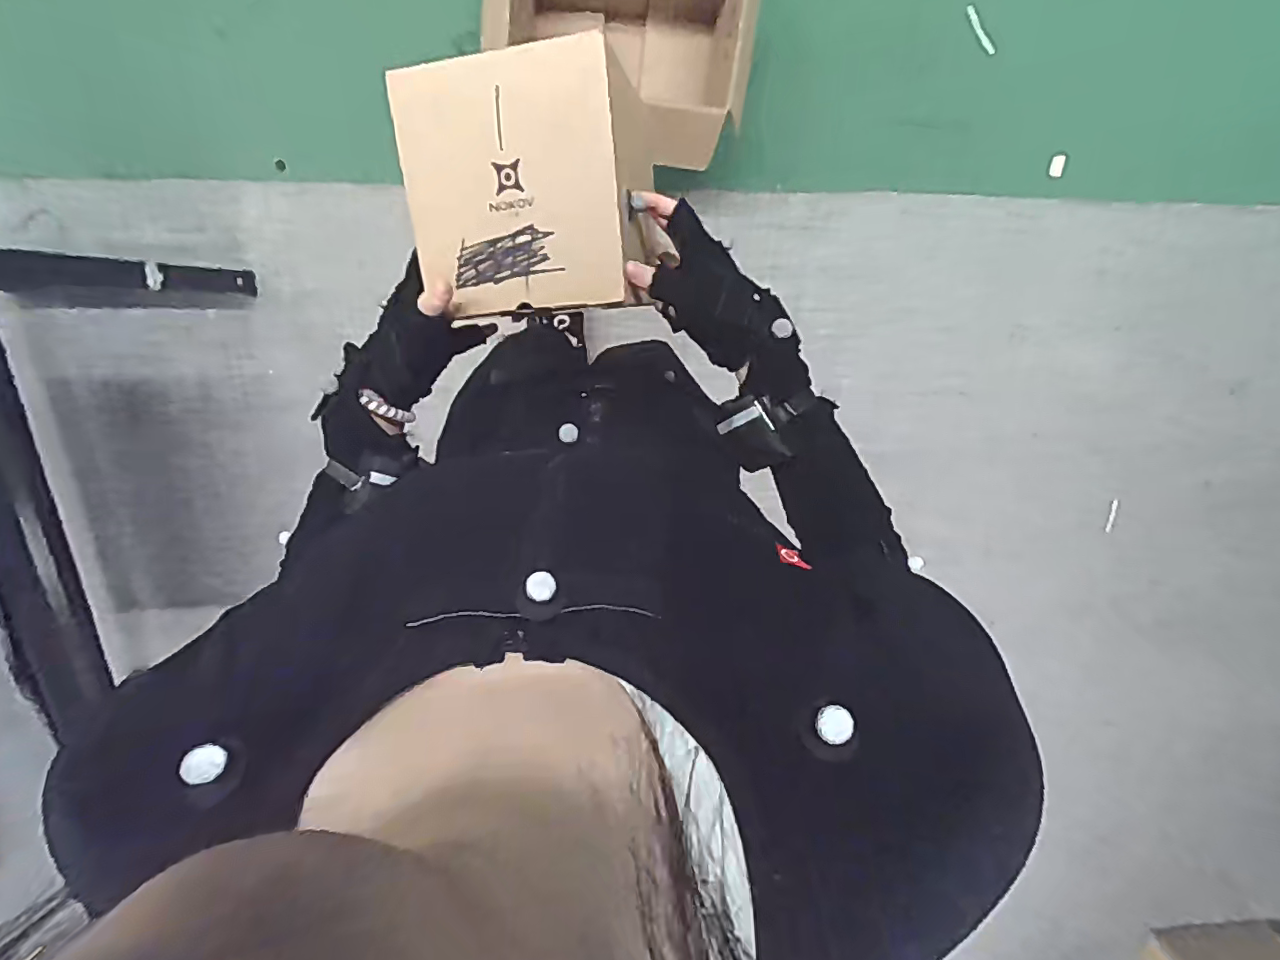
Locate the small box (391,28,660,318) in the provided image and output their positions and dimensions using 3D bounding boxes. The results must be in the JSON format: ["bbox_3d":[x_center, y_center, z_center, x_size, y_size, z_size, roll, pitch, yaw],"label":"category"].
[{"bbox_3d":[-0.078,-0.239,0.471,0.168,0.176,0.179,-1,106,12],"label":"small box"}]
